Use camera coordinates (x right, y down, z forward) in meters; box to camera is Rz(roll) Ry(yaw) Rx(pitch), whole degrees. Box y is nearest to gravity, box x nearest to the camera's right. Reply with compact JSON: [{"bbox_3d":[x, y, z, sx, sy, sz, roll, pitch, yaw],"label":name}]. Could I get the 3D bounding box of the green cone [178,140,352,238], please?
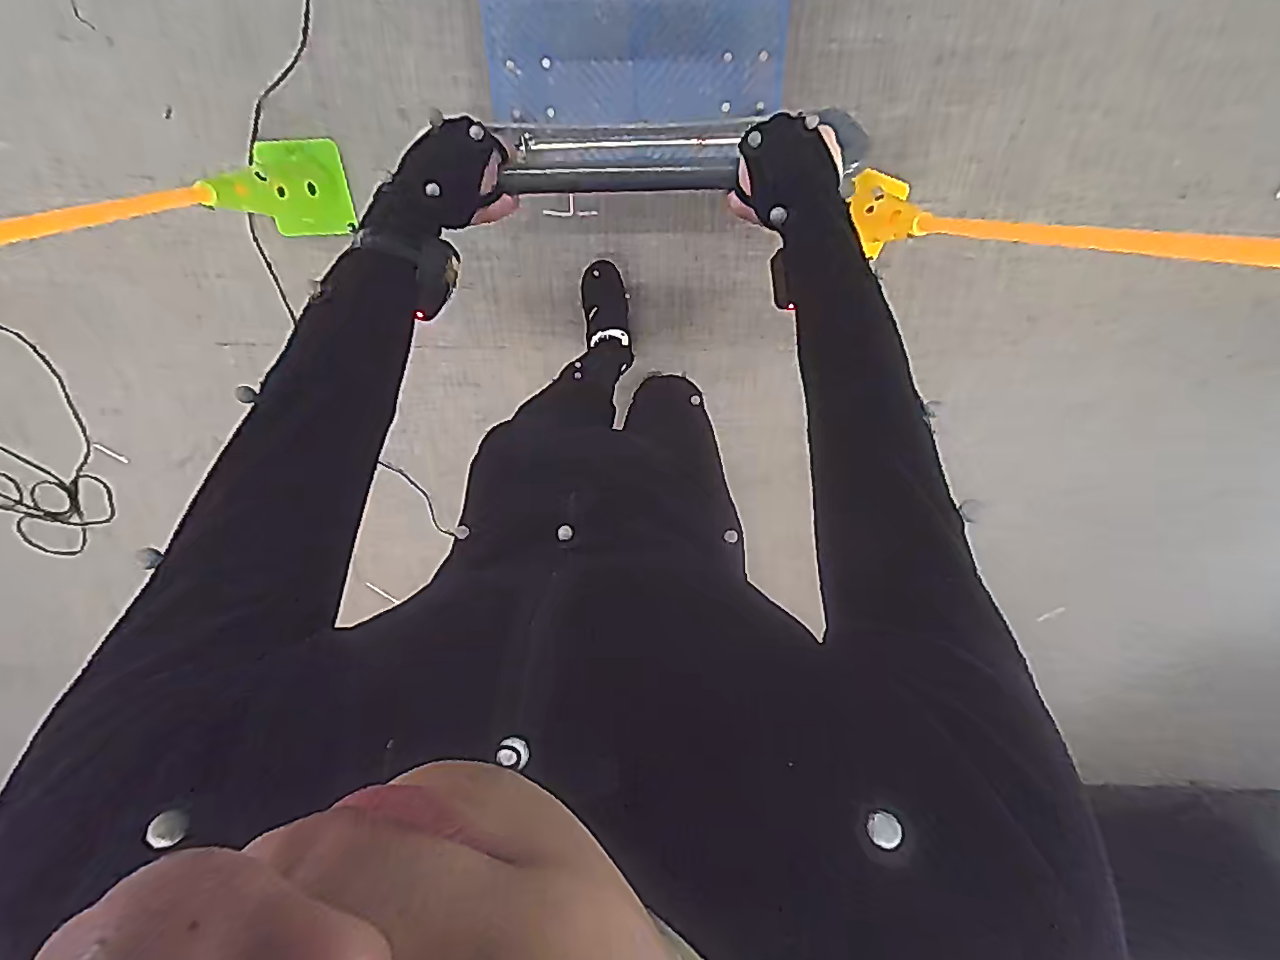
[{"bbox_3d":[-0.806,-0.604,1.131,0.202,0.368,0.200,-2,119,2],"label":"green cone"}]
